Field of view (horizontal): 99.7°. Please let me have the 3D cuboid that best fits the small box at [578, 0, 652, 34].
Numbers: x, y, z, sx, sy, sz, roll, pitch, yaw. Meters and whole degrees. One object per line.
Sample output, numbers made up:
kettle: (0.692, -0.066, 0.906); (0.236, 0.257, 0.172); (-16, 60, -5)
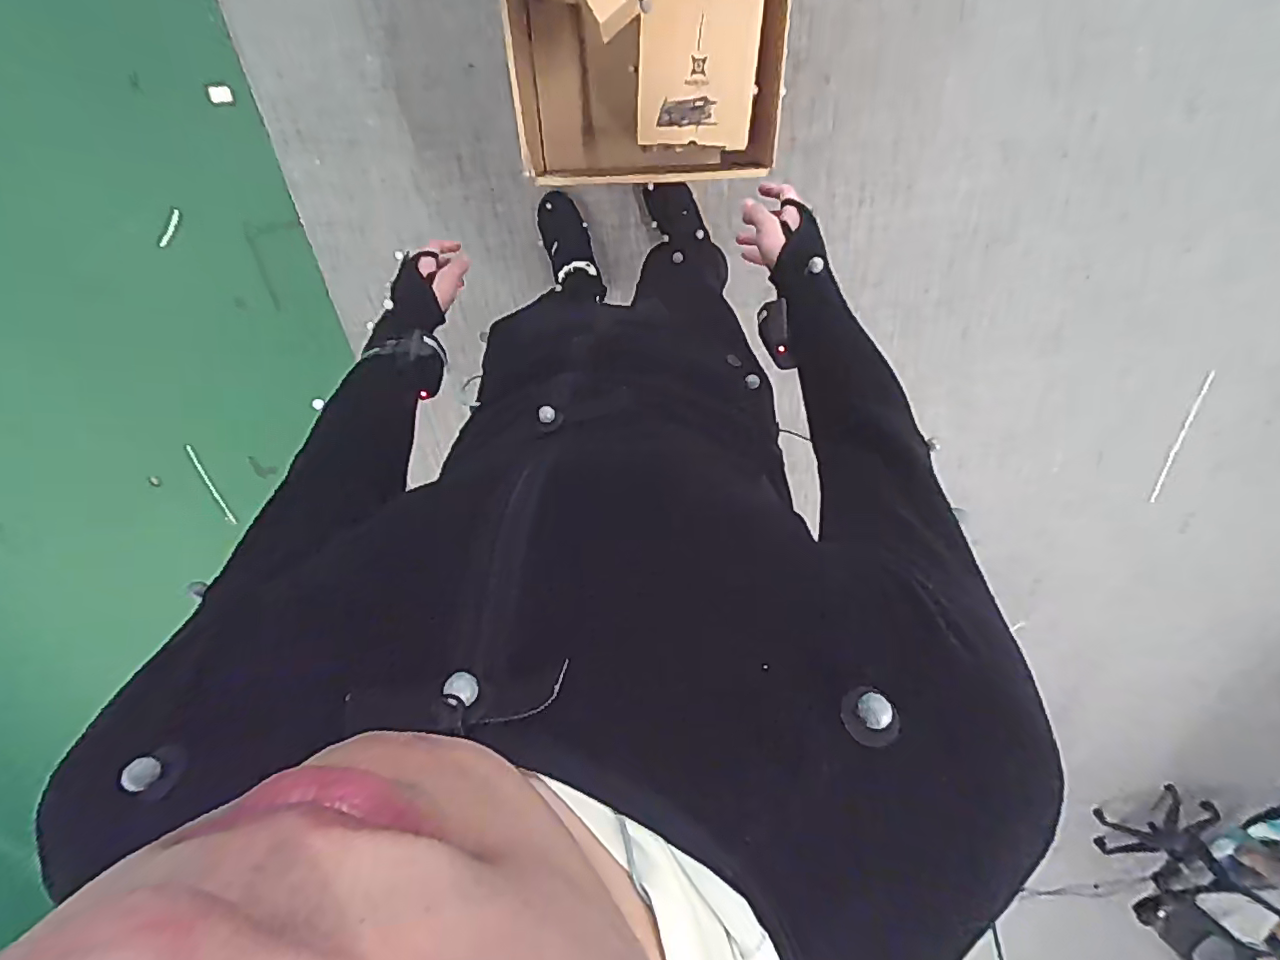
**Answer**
small box: (-0.027, -0.637, 0.595); (0.168, 0.176, 0.179); (-30, 118, 18)
